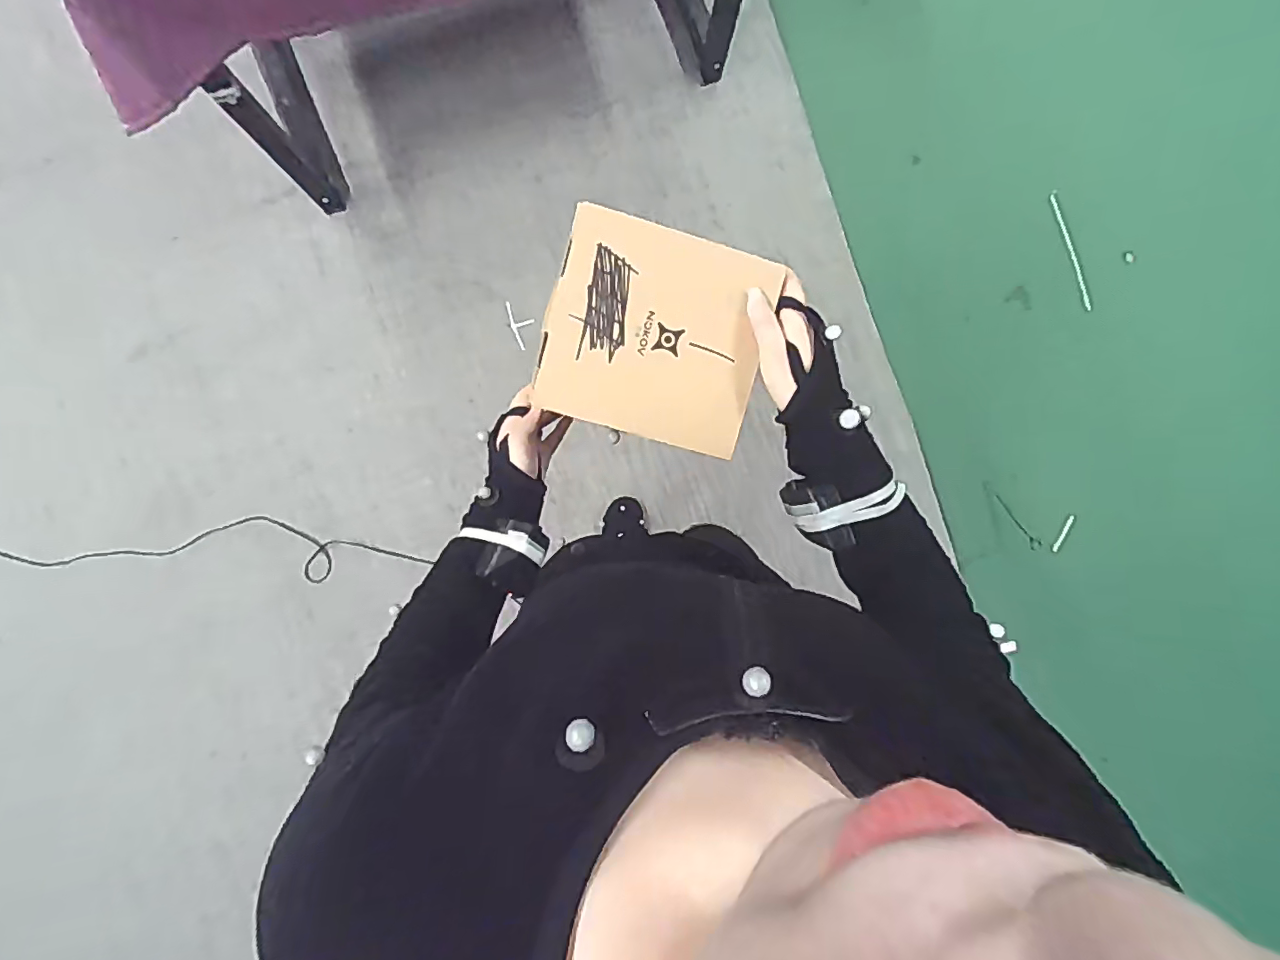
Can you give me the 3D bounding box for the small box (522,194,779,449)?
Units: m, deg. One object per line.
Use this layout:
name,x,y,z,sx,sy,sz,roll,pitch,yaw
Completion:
small box,0.003,-0.133,0.514,0.179,0.176,0.168,15,96,-7
